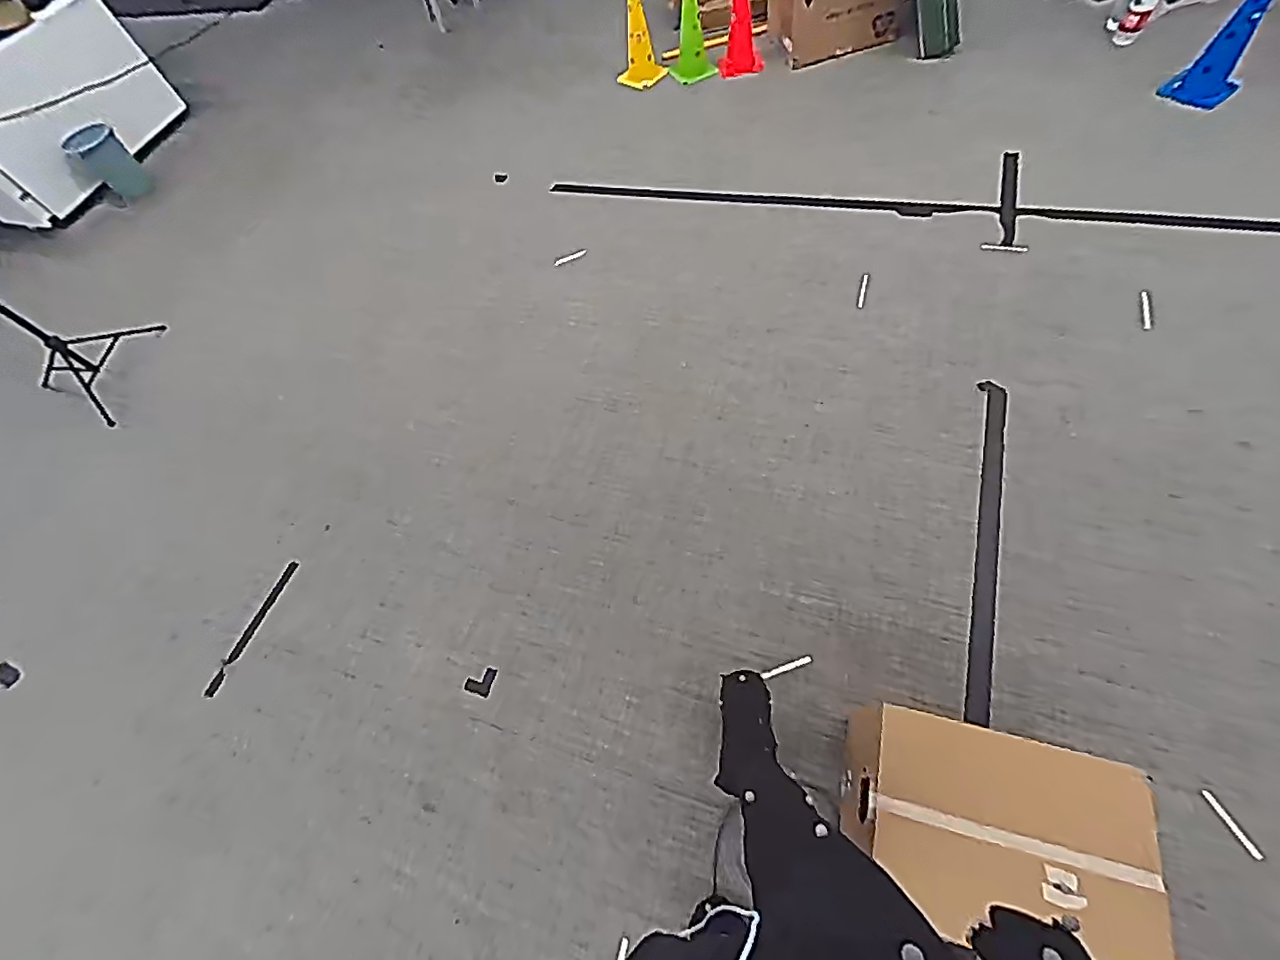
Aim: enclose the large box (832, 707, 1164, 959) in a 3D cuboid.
[{"bbox_3d":[0.591,0.633,0.977,0.408,0.320,0.320,11,65,14],"label":"large box"}]
